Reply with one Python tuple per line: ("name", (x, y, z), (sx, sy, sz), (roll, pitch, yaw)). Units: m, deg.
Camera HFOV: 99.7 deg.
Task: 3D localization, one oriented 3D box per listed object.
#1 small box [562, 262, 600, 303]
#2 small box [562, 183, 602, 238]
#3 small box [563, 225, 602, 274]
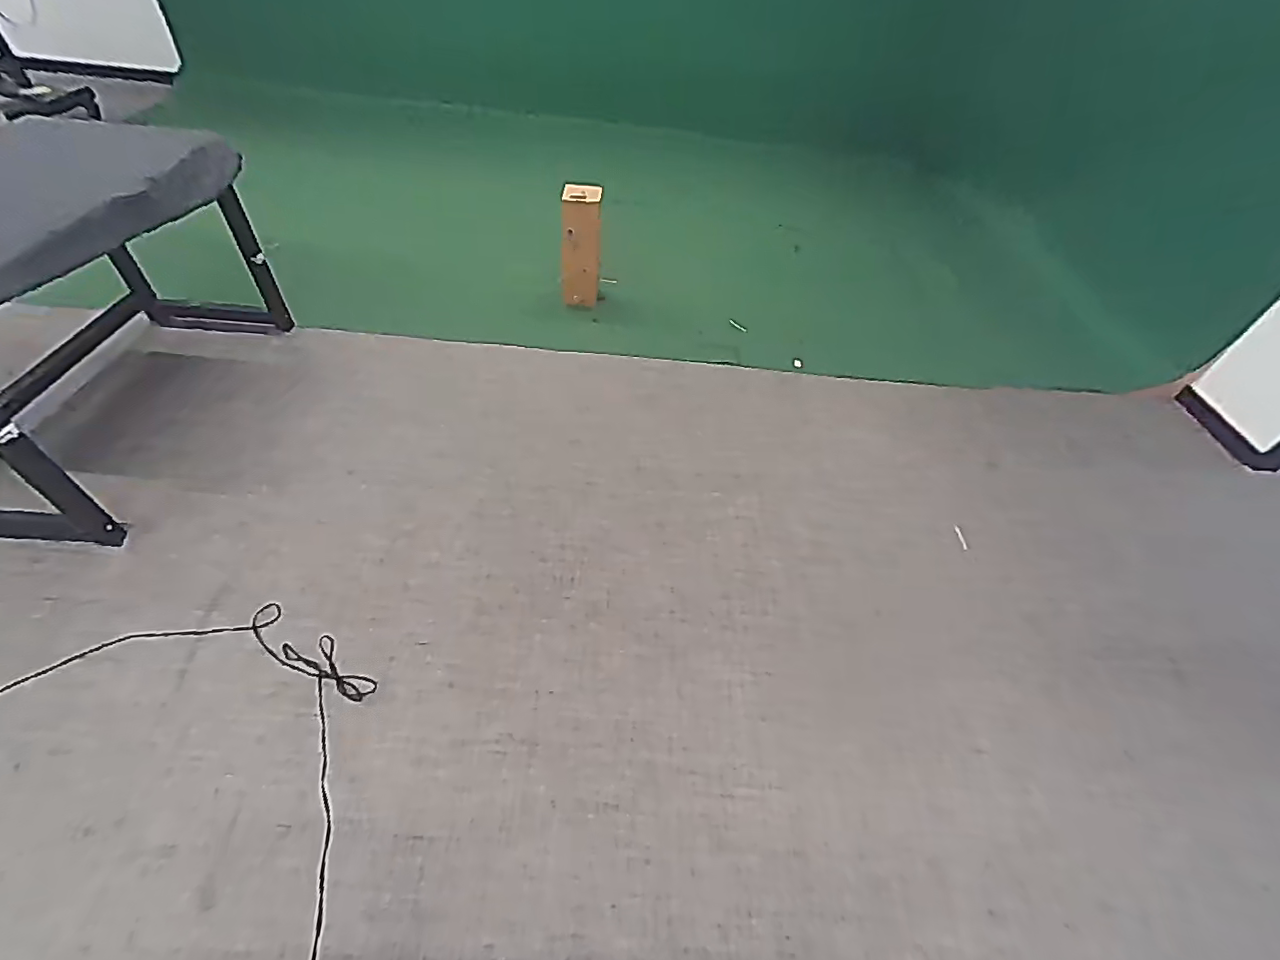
("small box", (-0.287, -0.993, 2.644), (0.168, 0.176, 0.179), (5, 48, 0))
("small box", (-0.256, -1.201, 2.417), (0.168, 0.176, 0.179), (4, 47, -3))
("small box", (-0.270, -1.090, 2.538), (0.168, 0.176, 0.179), (5, 47, -1))
